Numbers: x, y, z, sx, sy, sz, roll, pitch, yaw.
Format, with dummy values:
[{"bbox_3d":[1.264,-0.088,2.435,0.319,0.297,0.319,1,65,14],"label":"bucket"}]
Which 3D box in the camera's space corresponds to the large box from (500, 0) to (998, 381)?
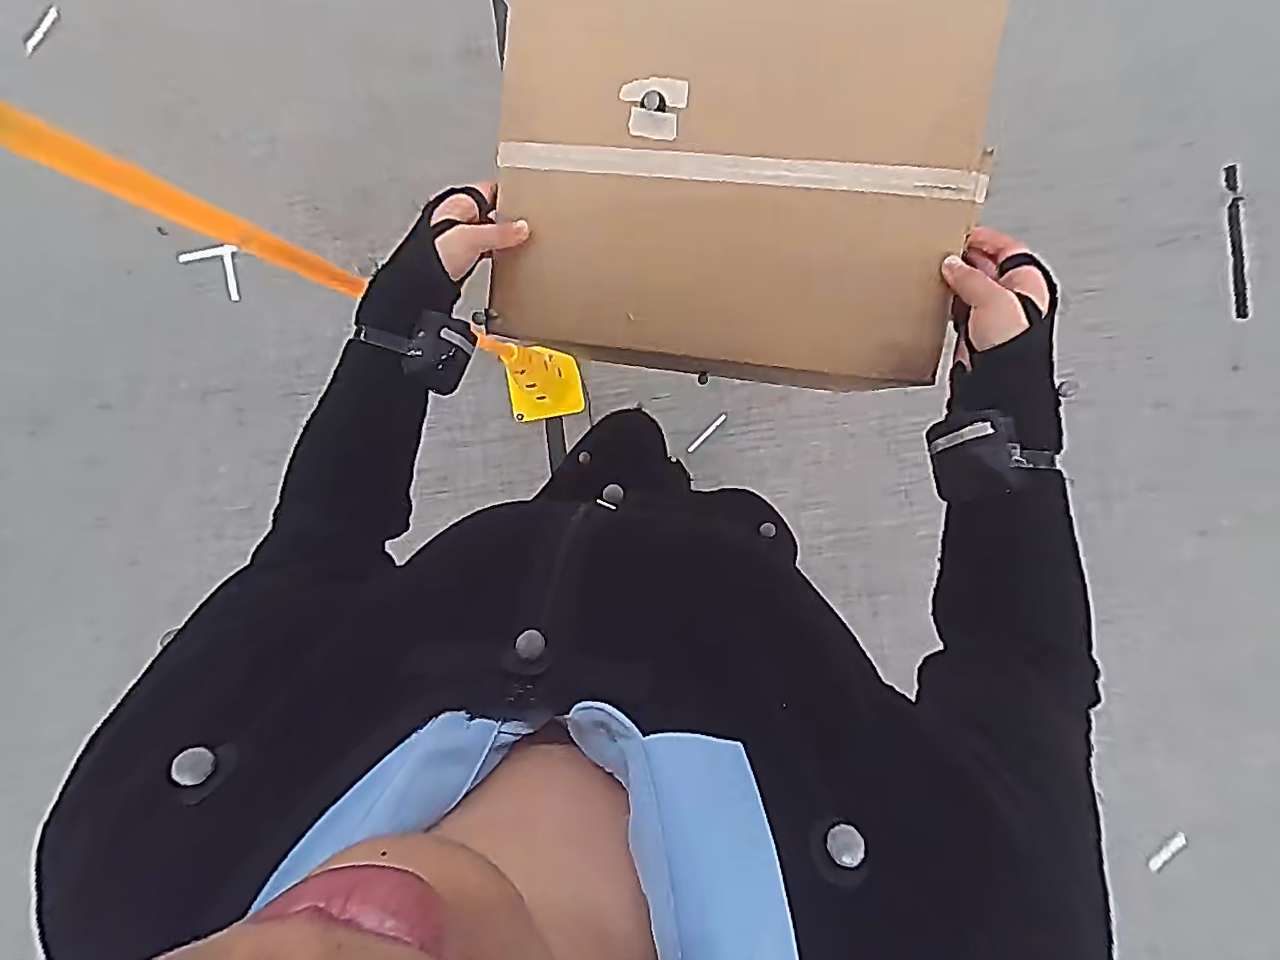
[{"bbox_3d":[0.099,-0.289,0.617,0.408,0.320,0.320,8,98,8],"label":"large box"}]
